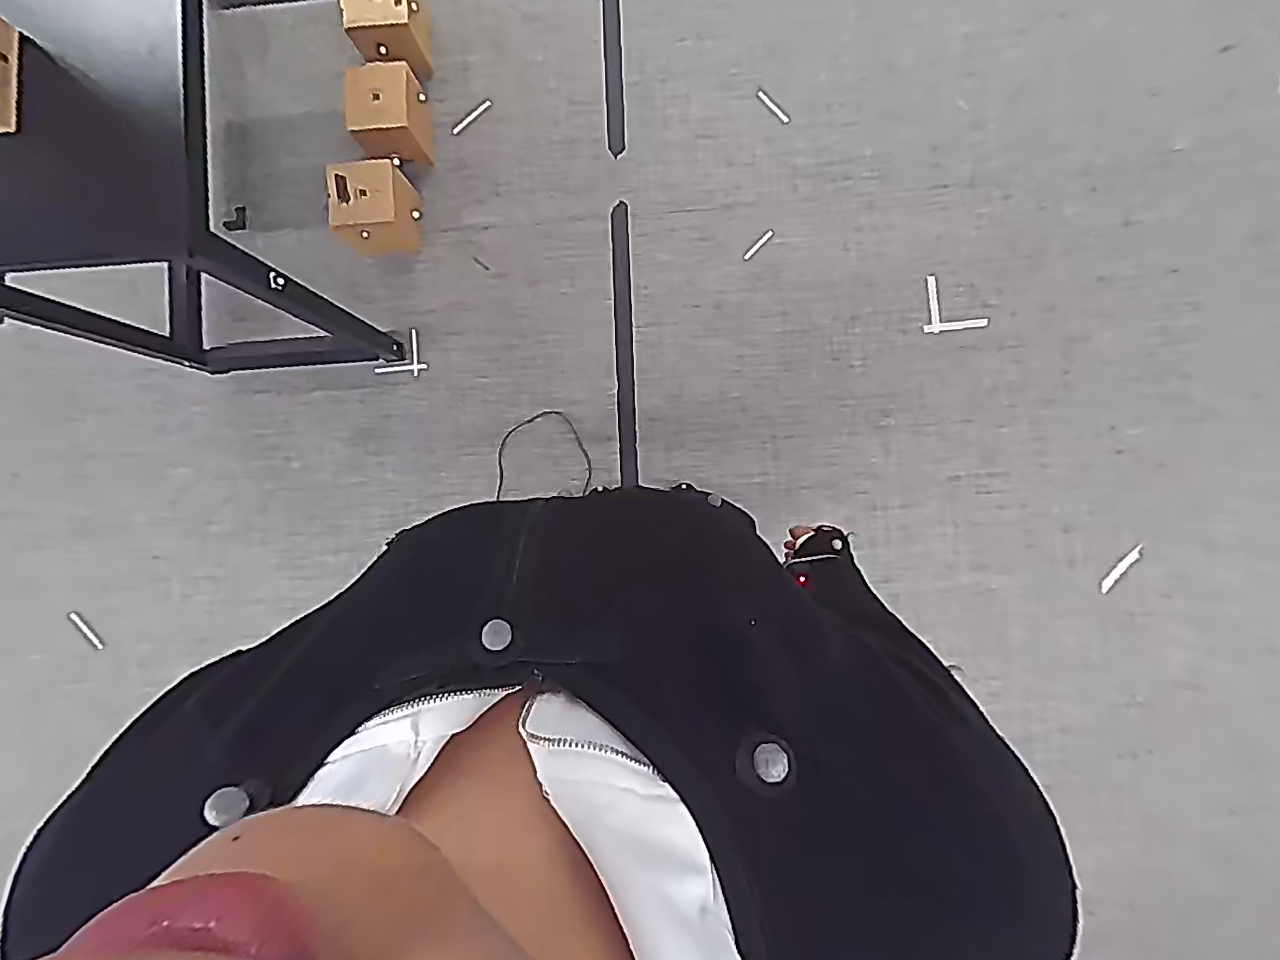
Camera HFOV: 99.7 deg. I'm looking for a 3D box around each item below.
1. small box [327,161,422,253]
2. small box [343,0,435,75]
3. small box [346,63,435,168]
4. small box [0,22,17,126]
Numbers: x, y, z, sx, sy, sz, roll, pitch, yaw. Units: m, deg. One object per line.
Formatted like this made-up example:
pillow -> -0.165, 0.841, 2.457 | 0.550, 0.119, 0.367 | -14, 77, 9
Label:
small box -> -0.722, -0.739, 1.480 | 0.179, 0.176, 0.168 | -4, 89, 2
small box -> -0.690, -1.256, 1.492 | 0.179, 0.176, 0.168 | -4, 89, 3
small box -> -0.681, -0.993, 1.487 | 0.168, 0.176, 0.179 | -4, 89, 3
small box -> -1.053, -0.621, 0.762 | 0.179, 0.176, 0.168 | 0, 88, 3
